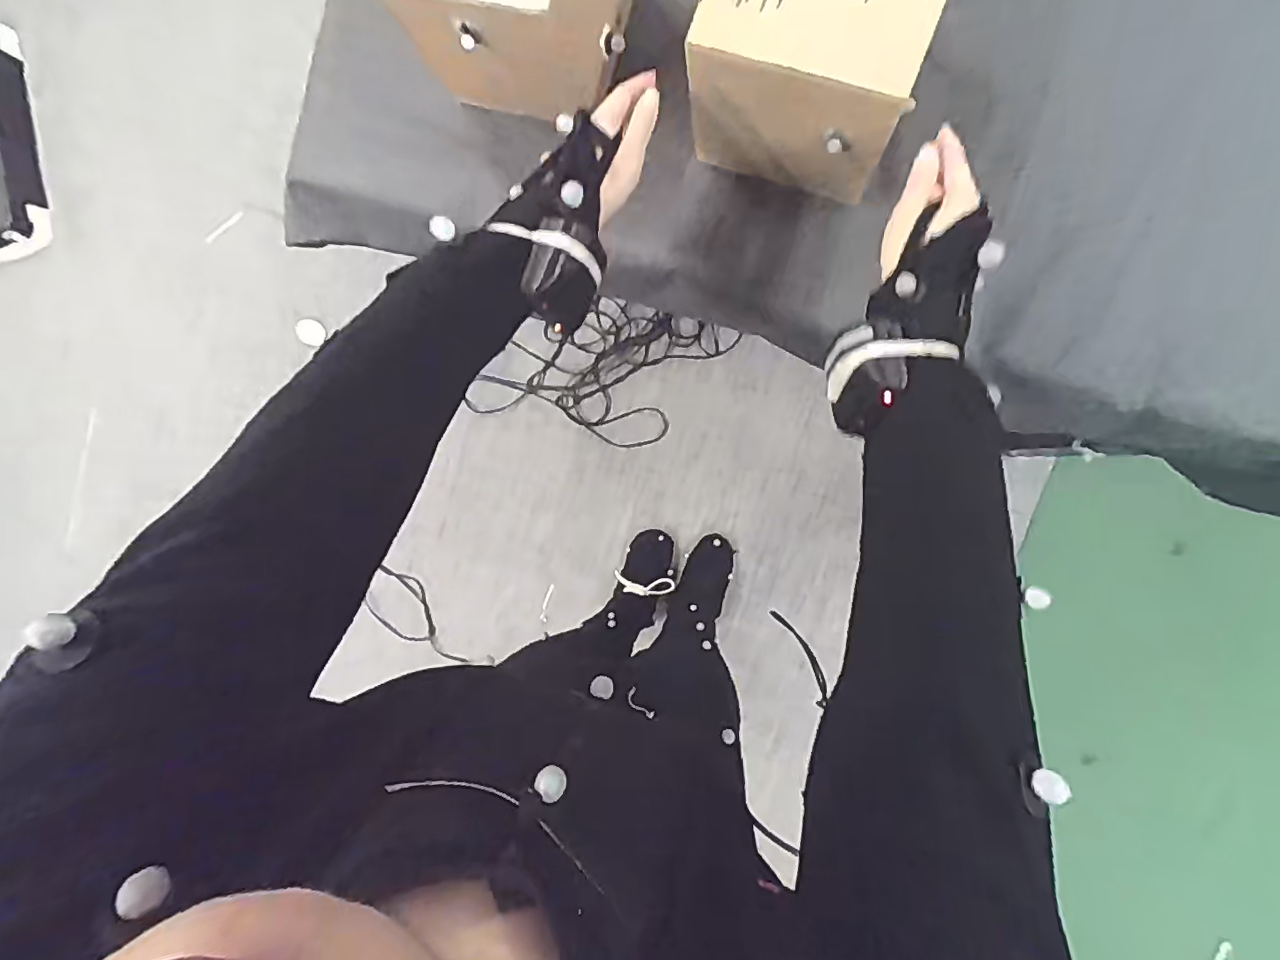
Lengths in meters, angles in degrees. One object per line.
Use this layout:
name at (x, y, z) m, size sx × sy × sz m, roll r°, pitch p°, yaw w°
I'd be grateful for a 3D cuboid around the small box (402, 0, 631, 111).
small box at (-0.119, -0.493, 0.513) m, size 0.179 × 0.176 × 0.168 m, roll 18°, pitch 97°, yaw 8°
